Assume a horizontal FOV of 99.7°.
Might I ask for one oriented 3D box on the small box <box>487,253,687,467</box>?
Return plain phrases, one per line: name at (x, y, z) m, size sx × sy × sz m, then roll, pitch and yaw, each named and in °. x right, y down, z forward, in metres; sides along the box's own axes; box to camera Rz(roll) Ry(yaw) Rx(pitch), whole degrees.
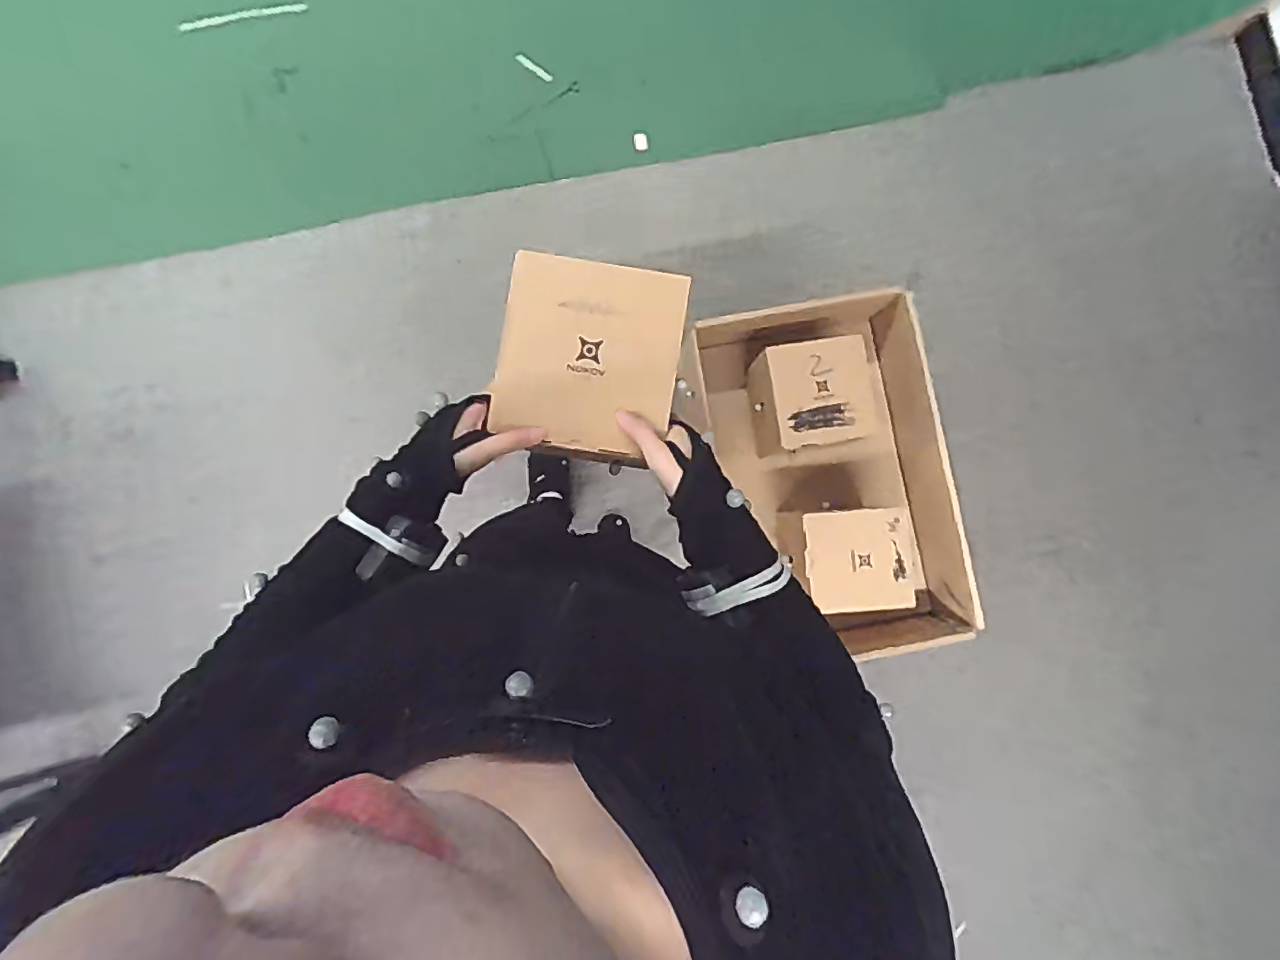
small box at (-0.047, -0.112, 0.579) m, size 0.168 × 0.176 × 0.179 m, roll 9°, pitch 88°, yaw 1°
